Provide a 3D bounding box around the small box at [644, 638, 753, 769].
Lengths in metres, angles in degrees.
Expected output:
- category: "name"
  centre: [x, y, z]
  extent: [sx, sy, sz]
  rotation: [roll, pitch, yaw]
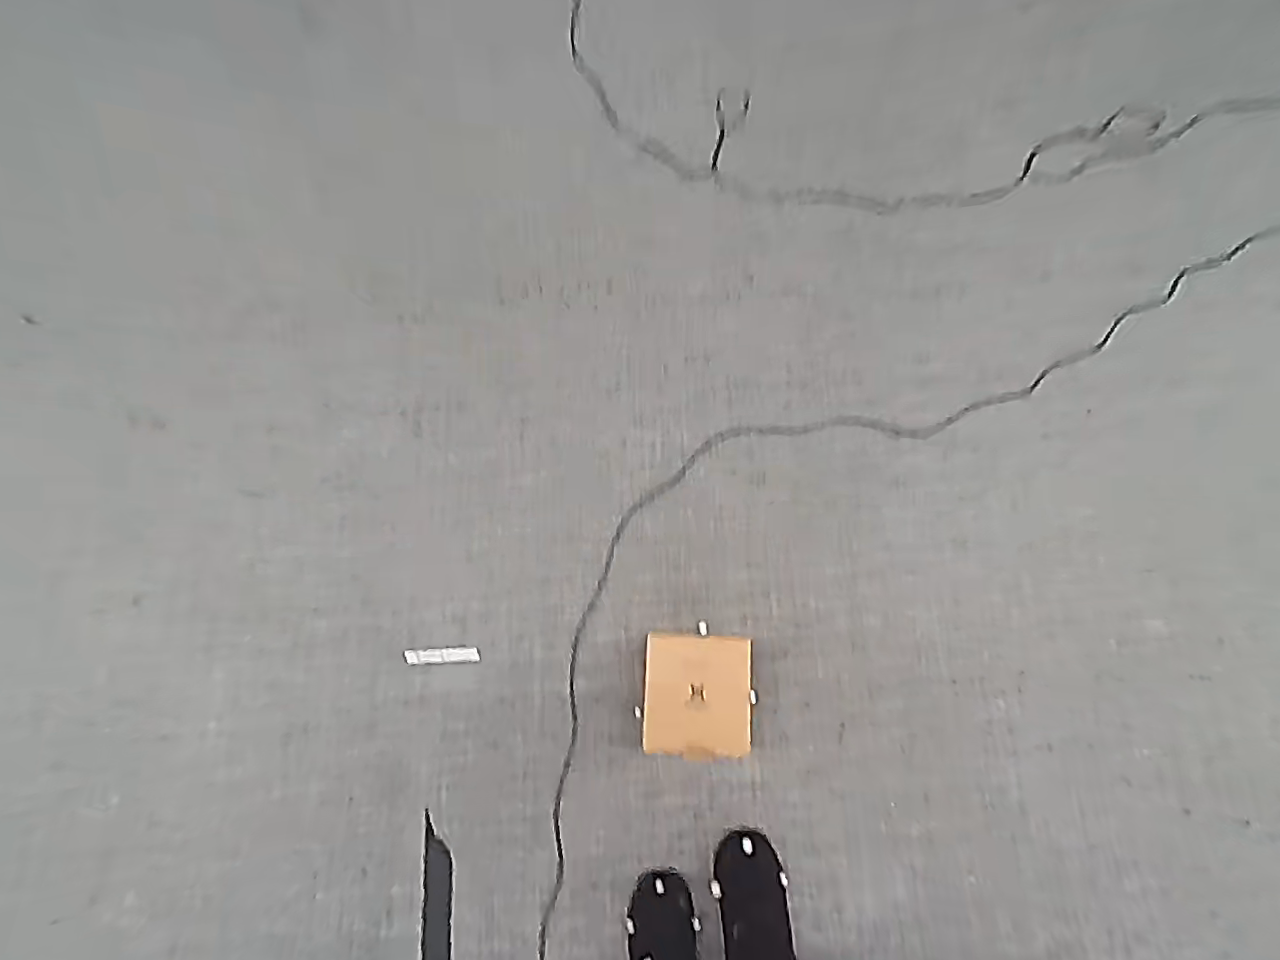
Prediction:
- category: "small box"
  centre: [0.095, 0.367, 0.917]
  extent: [0.168, 0.176, 0.179]
  rotation: [3, 76, 1]
